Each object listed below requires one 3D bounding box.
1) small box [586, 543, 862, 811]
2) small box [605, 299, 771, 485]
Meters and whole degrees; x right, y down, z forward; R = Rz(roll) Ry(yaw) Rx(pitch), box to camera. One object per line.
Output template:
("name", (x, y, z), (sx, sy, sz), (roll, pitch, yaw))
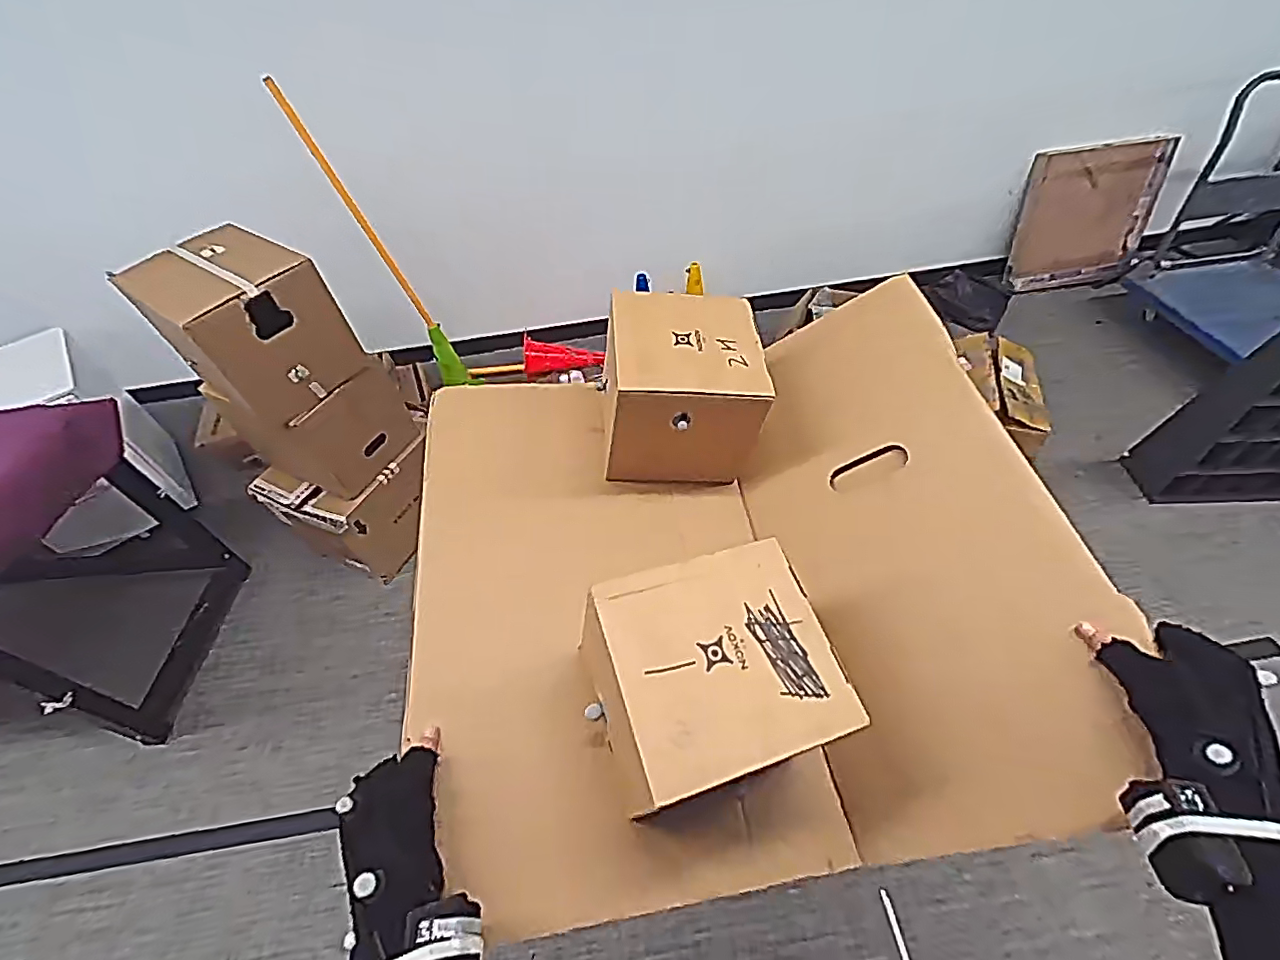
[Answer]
("small box", (0.056, 0.183, 0.496), (0.179, 0.176, 0.168), (-12, 59, -16))
("small box", (0.045, -0.106, 0.691), (0.179, 0.176, 0.168), (2, 56, -9))
